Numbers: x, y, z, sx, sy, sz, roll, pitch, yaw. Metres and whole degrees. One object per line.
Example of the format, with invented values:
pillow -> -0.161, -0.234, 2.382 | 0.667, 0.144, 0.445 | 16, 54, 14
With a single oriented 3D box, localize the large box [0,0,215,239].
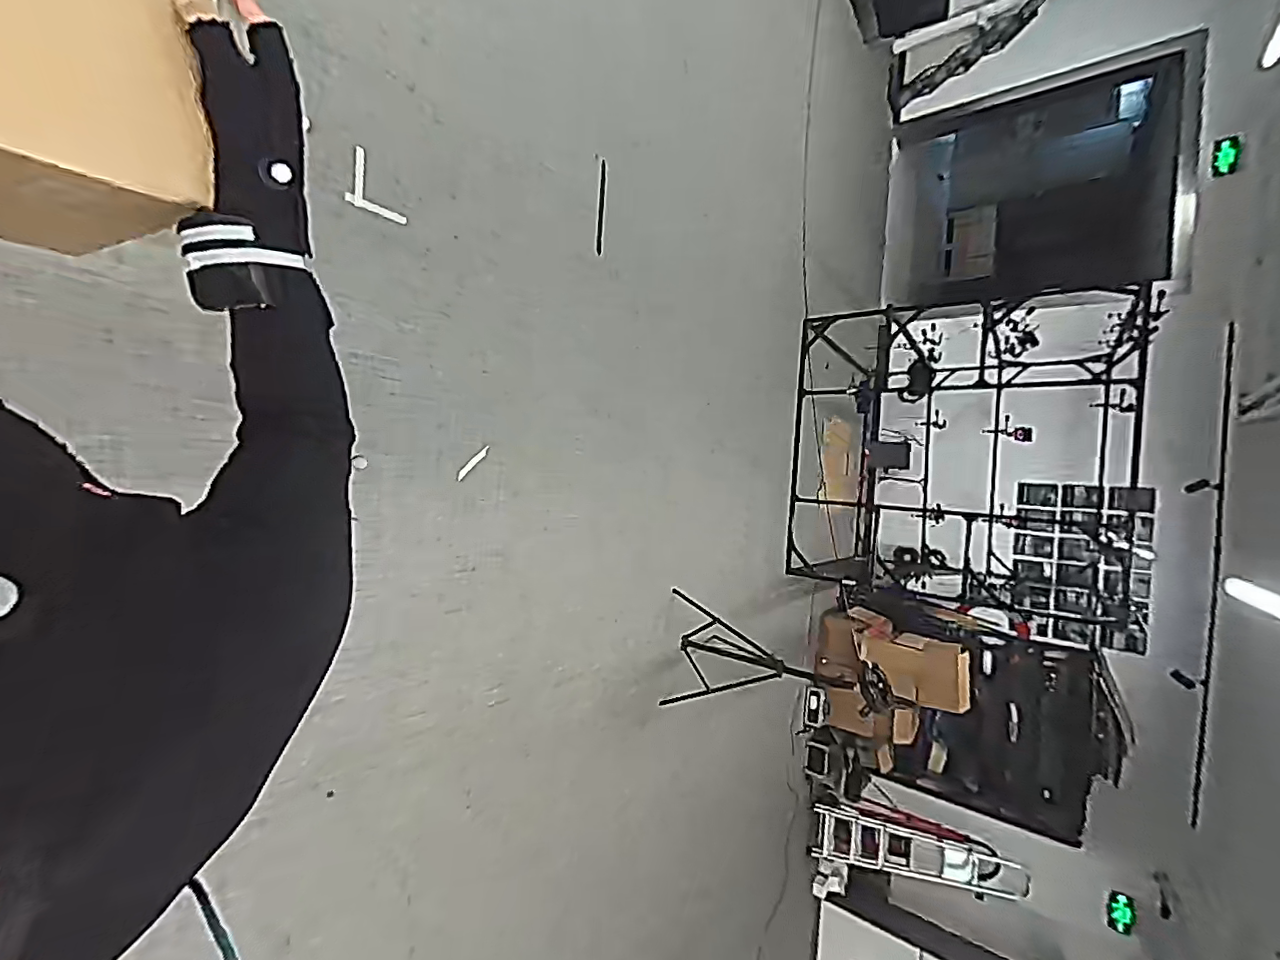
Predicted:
large box -> -0.548, -0.373, 0.306 | 0.408, 0.320, 0.320 | -4, 101, -59
